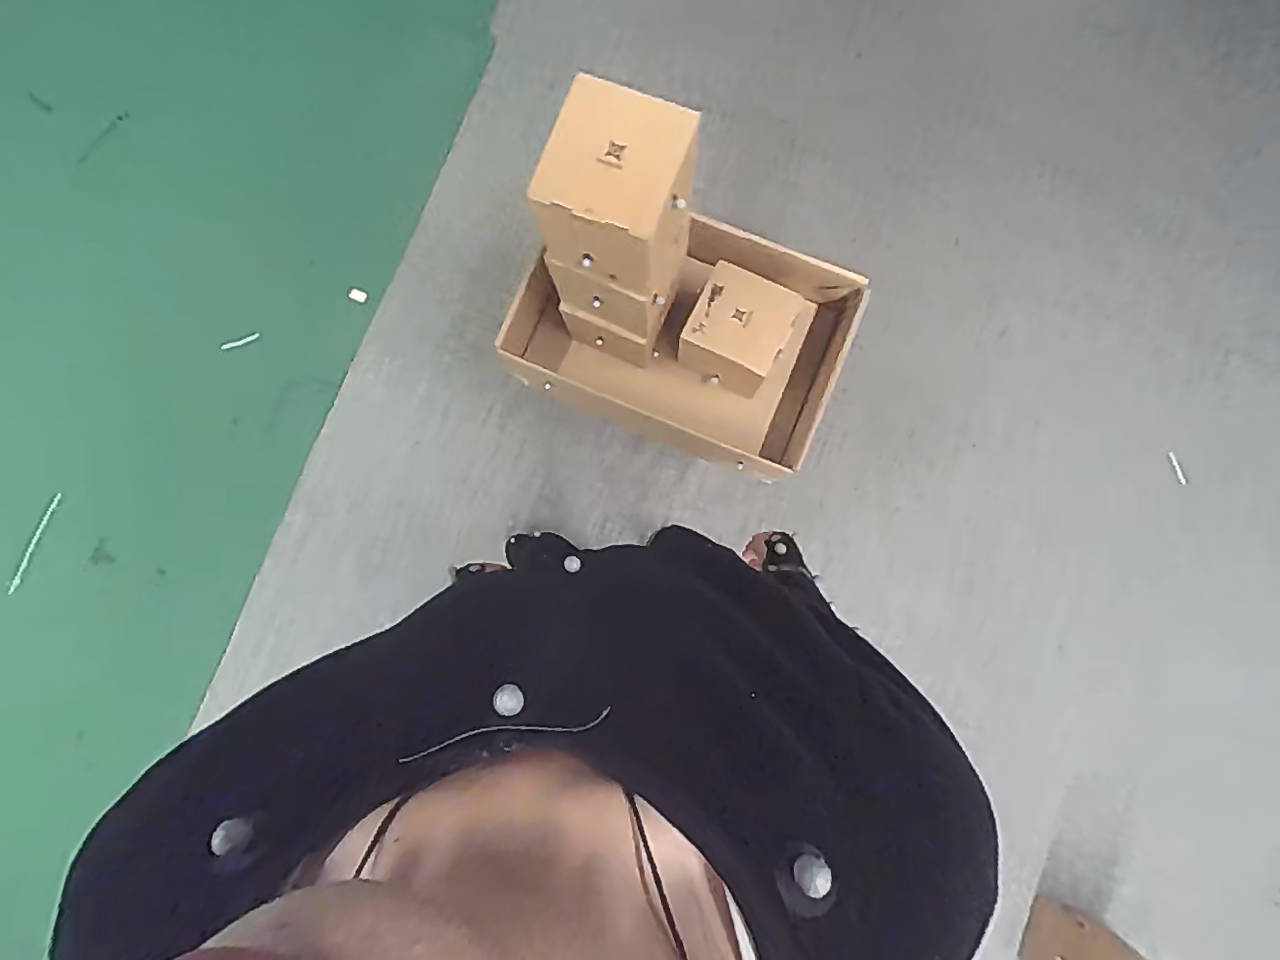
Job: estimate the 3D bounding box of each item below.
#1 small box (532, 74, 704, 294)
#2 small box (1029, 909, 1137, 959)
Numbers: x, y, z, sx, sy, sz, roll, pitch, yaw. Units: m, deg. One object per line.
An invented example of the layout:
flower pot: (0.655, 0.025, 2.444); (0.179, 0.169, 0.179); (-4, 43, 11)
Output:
small box: (-0.026, -0.390, 0.741); (0.168, 0.176, 0.179); (21, 86, 3)
small box: (1.081, 1.191, 1.296); (0.168, 0.176, 0.179); (20, 85, 4)
